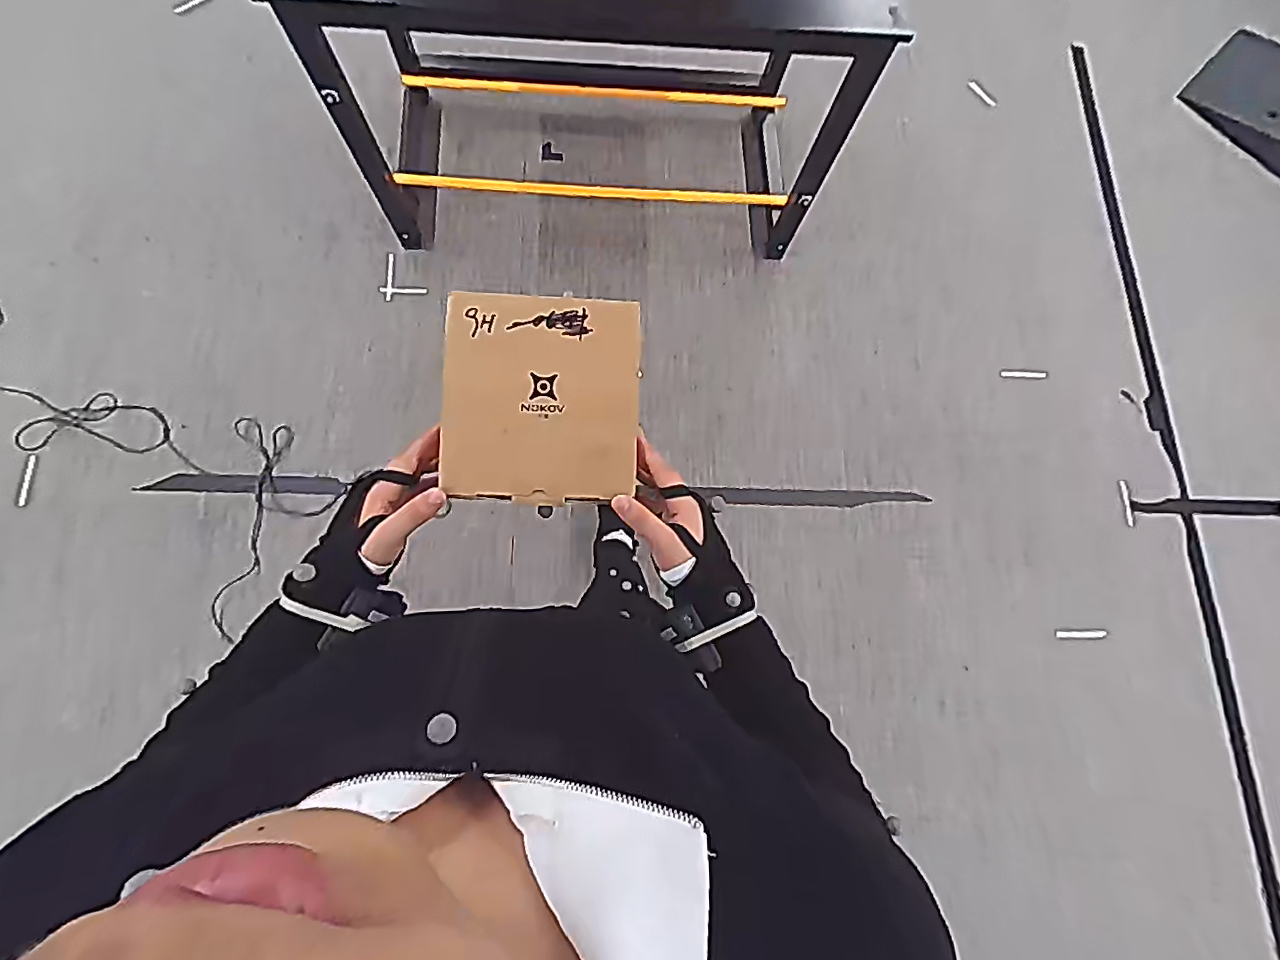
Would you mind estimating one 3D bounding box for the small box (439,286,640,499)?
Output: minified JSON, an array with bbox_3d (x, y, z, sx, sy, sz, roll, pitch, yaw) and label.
[{"bbox_3d":[-0.090,-0.072,0.538,0.168,0.176,0.179,2,88,-5],"label":"small box"}]
